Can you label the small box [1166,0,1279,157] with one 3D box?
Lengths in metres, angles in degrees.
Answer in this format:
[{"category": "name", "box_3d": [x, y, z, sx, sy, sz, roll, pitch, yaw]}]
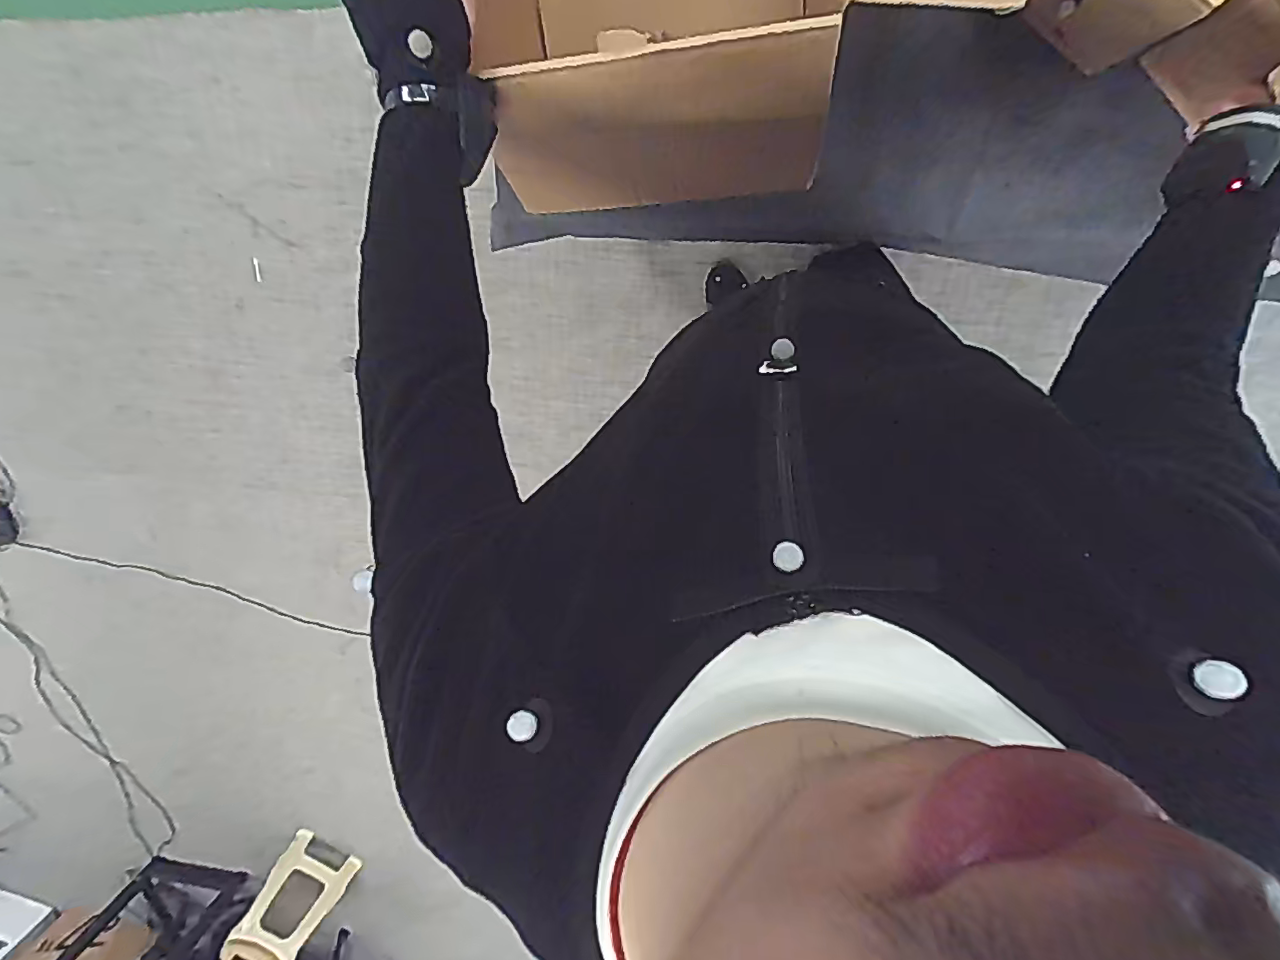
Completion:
[{"category": "small box", "box_3d": [0.636, -0.425, 0.478, 0.168, 0.176, 0.179, 41, 113, -8]}]
